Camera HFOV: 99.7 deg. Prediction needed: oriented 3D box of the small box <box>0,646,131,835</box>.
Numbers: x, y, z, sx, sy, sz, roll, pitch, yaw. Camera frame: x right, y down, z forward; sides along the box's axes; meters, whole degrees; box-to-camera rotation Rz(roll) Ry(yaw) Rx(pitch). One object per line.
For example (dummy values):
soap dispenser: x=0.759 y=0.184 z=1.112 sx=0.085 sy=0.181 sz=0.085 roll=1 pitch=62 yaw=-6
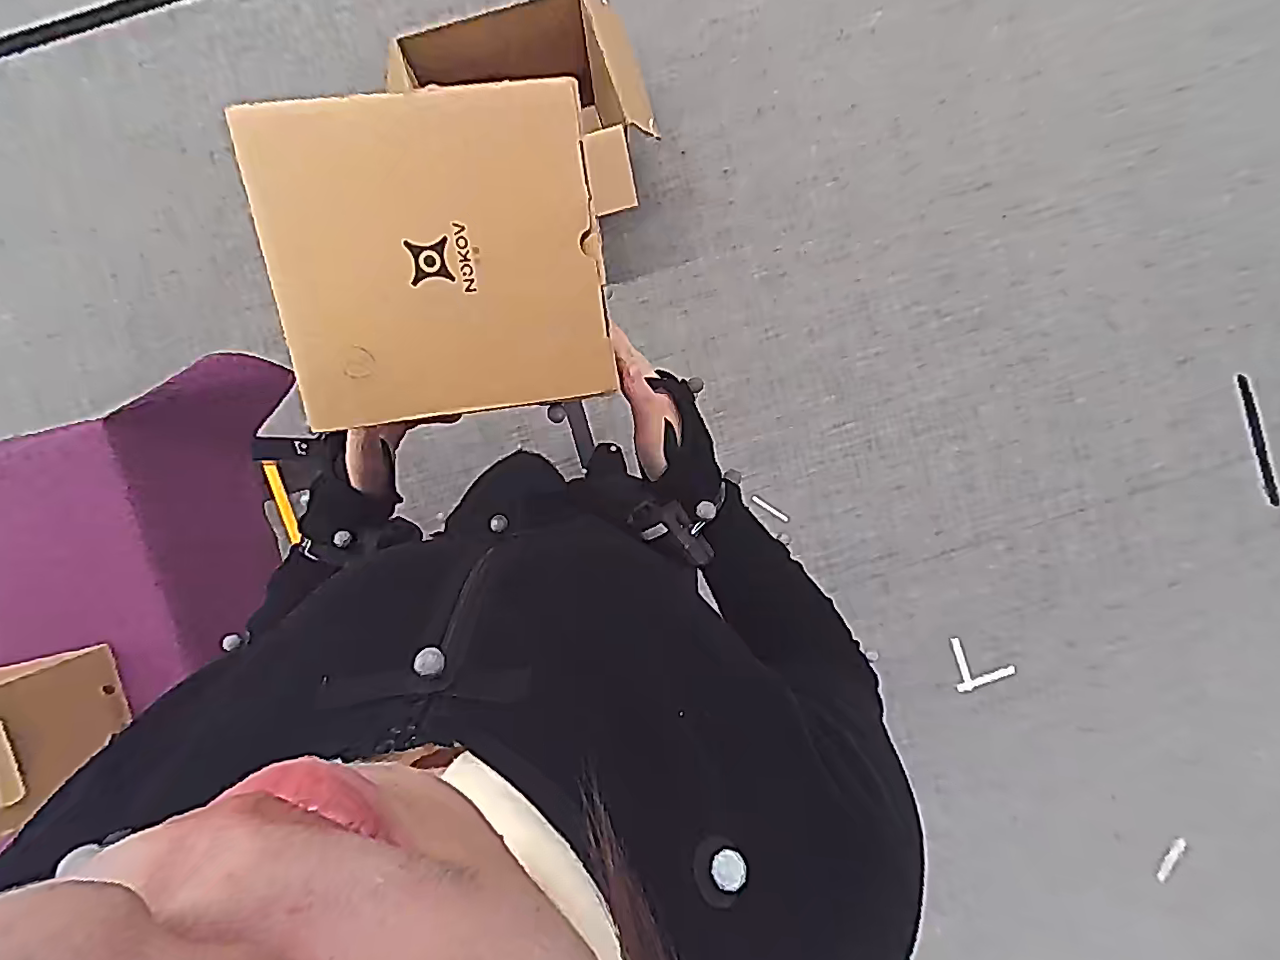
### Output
small box: x=-0.802 y=0.328 z=0.680 sx=0.179 sy=0.176 sz=0.168 roll=-13 pitch=93 yaw=0

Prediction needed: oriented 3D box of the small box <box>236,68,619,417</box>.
small box: x=-0.116 y=-0.139 z=0.369 sx=0.179 sy=0.176 sz=0.168 roll=-9 pitch=103 yaw=-6
